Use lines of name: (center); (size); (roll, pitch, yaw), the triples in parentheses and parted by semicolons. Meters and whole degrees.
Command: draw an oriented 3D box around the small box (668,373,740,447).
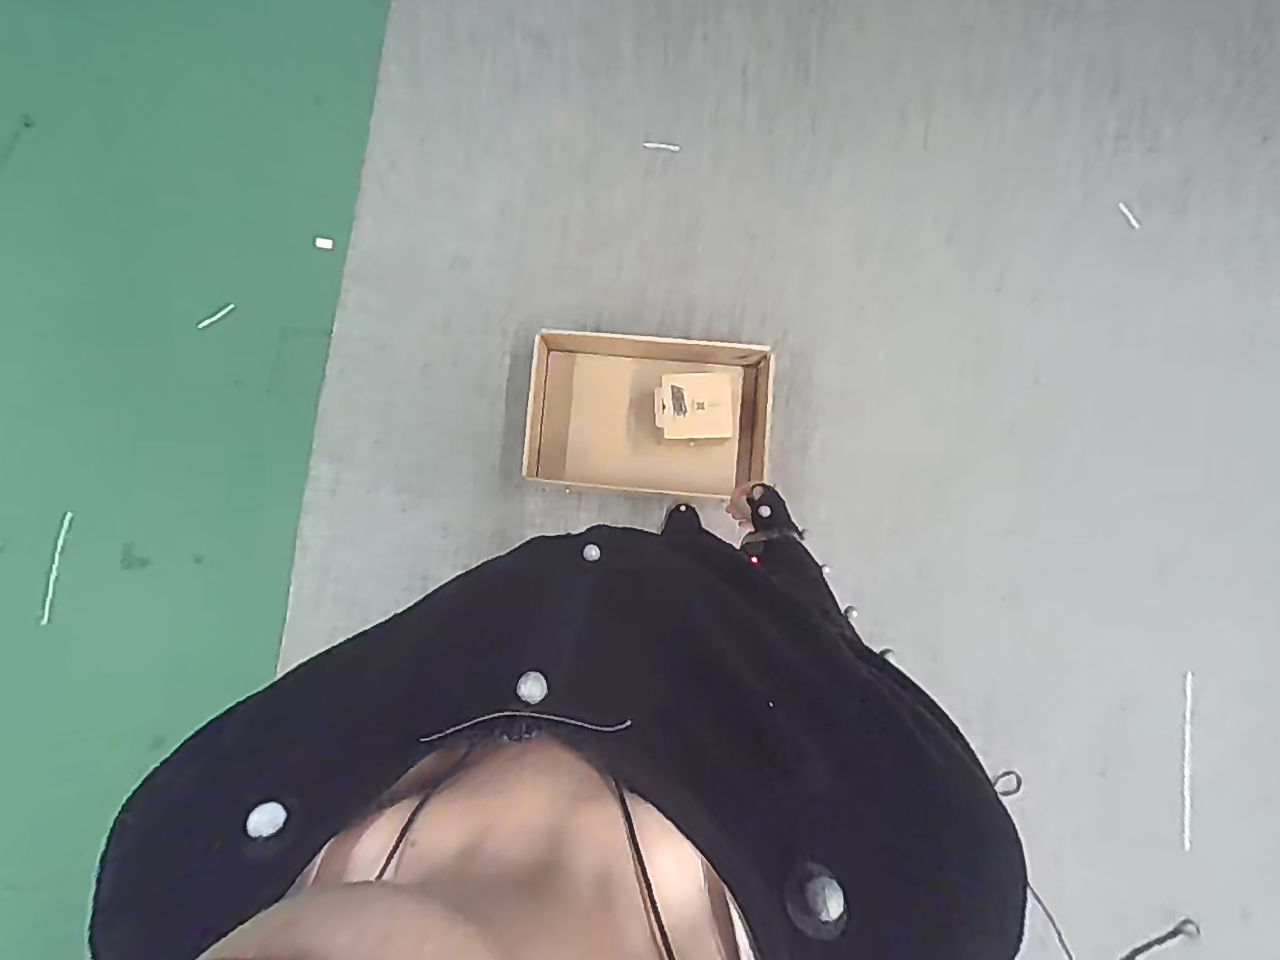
small box: (0.163, -0.178, 1.422); (0.179, 0.176, 0.168); (-1, 86, 1)
